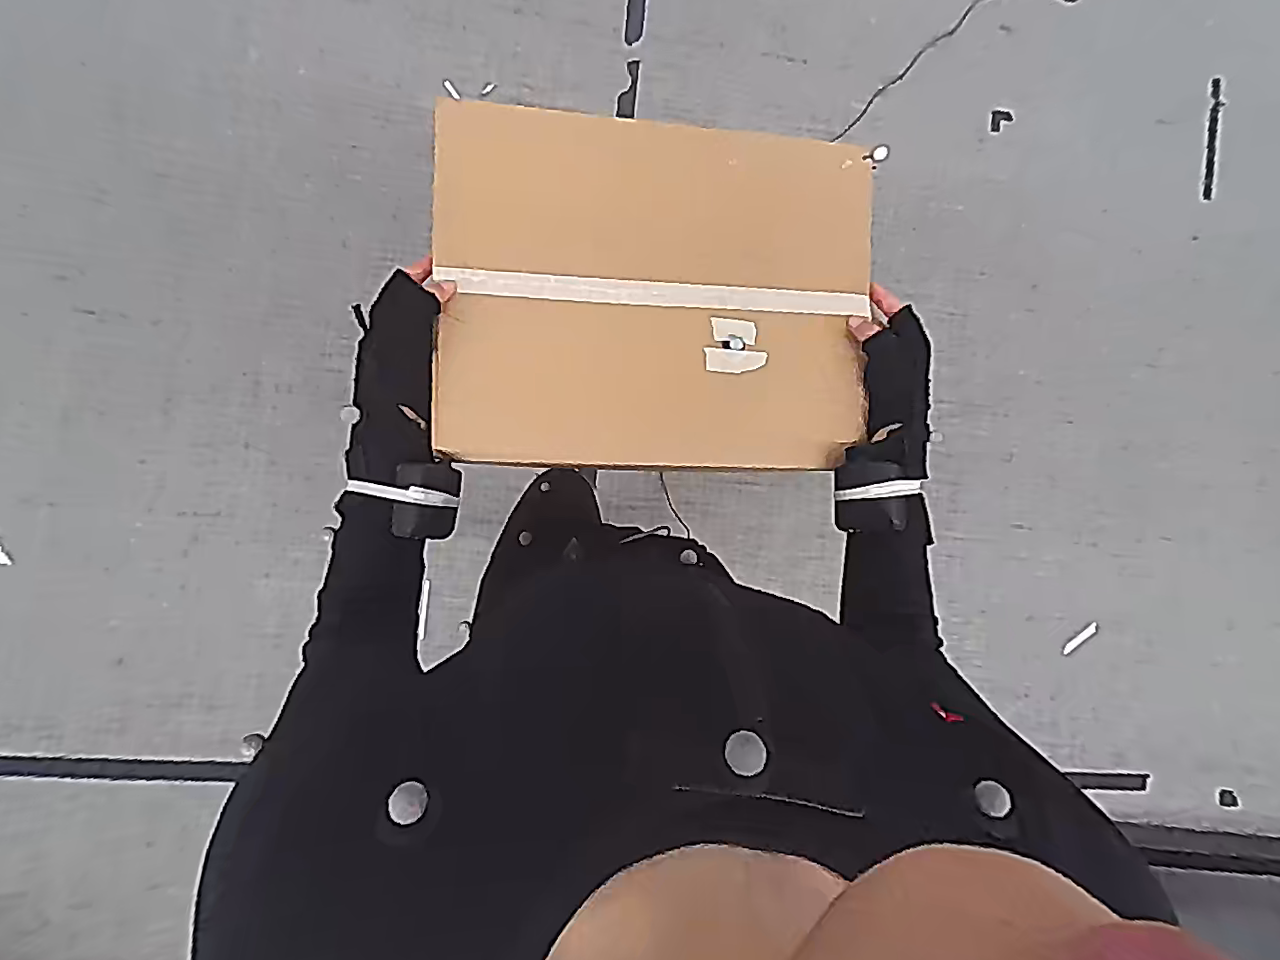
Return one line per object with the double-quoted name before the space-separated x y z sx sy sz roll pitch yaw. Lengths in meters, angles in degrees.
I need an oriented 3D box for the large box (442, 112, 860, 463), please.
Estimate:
"large box" -0.003 -0.178 0.657 0.408 0.320 0.320 1 92 -9
